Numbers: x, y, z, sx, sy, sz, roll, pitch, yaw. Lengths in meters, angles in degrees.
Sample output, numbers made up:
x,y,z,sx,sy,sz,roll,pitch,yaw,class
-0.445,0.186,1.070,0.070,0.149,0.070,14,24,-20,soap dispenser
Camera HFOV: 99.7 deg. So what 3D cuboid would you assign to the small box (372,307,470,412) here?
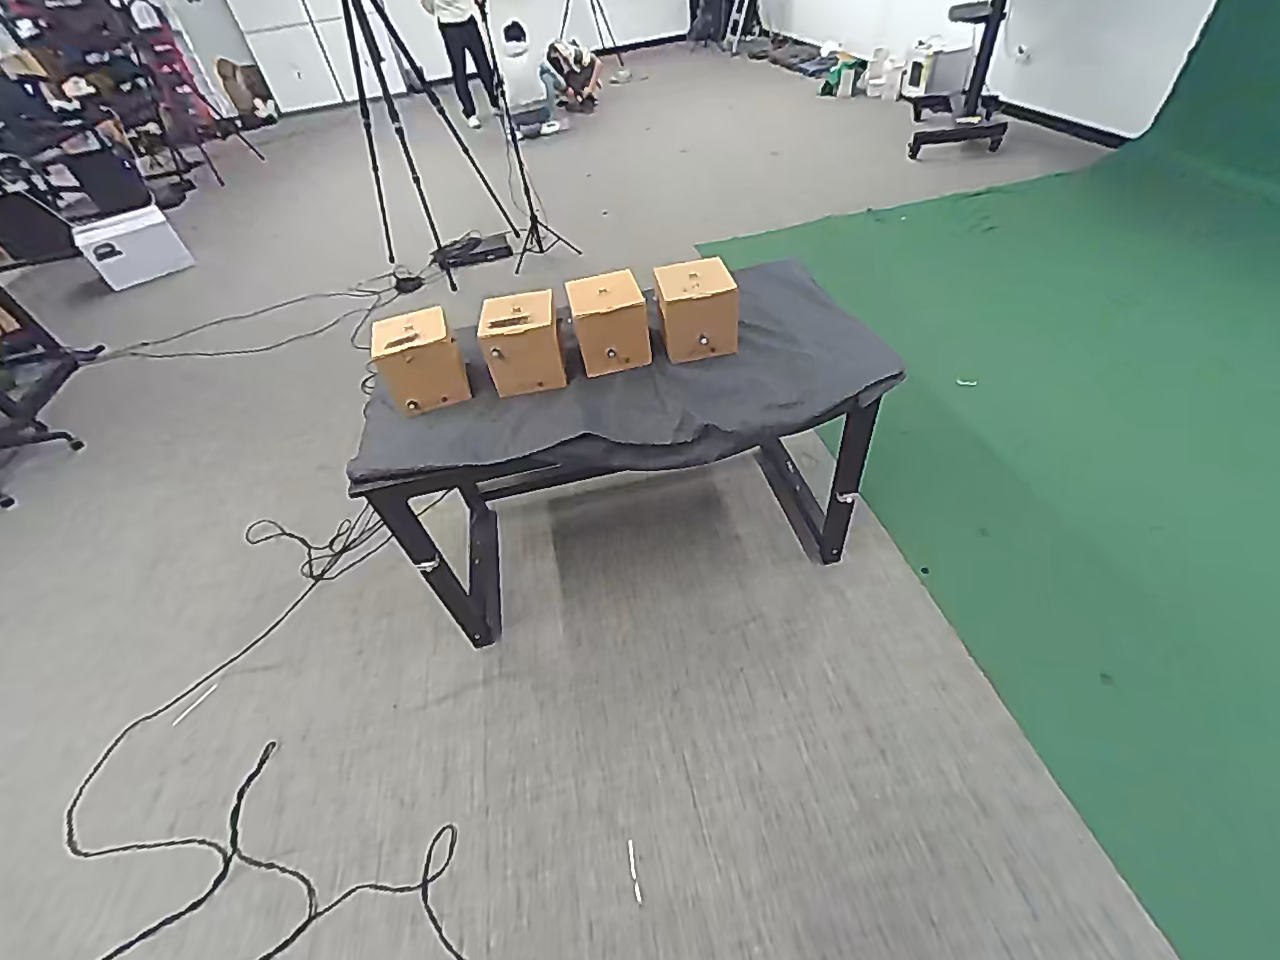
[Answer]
x,y,z,sx,sy,sz,roll,pitch,yaw,class
-0.514,-0.278,1.282,0.168,0.176,0.179,-18,45,-9,small box
